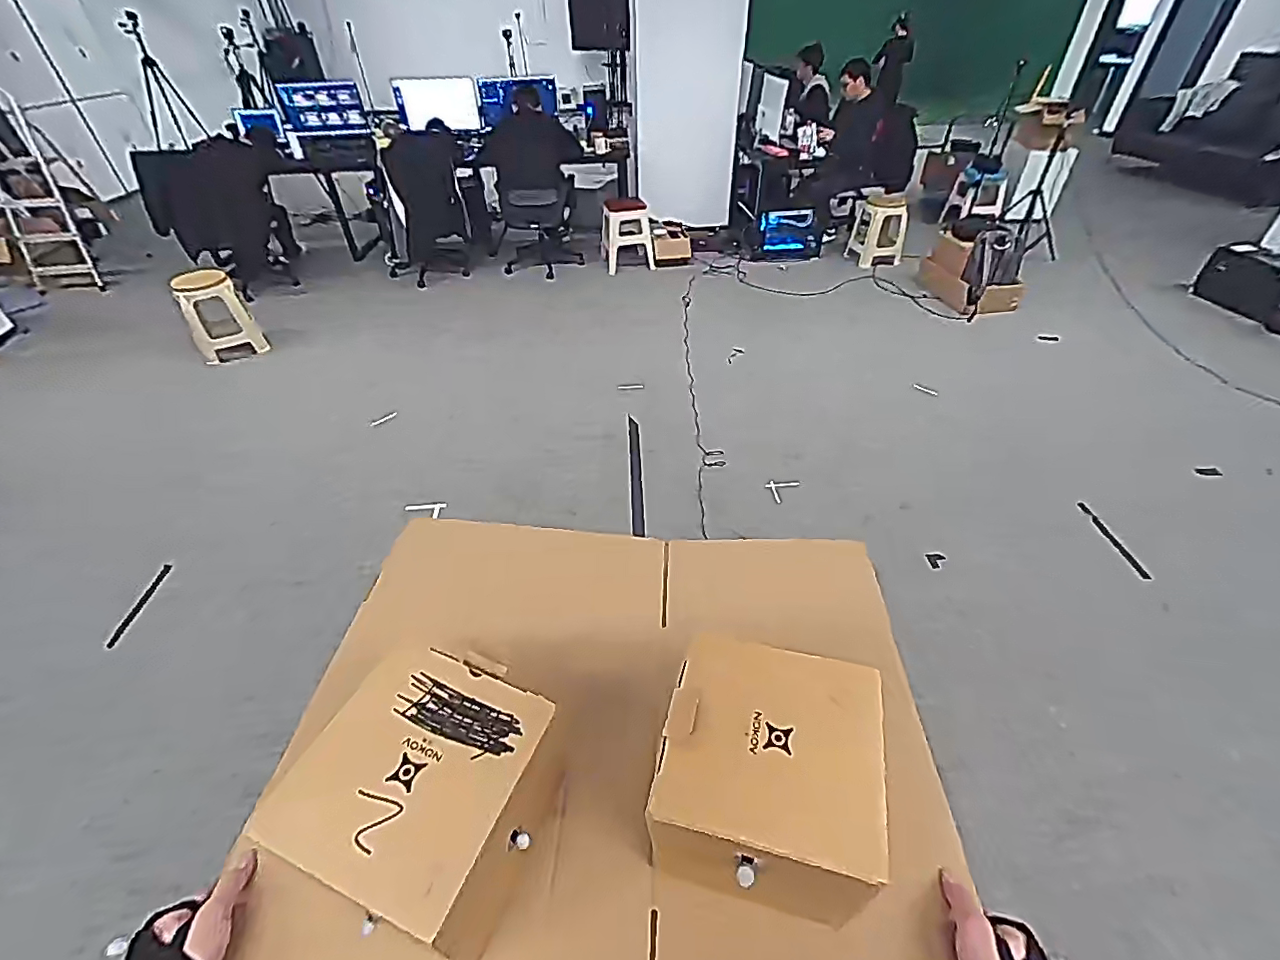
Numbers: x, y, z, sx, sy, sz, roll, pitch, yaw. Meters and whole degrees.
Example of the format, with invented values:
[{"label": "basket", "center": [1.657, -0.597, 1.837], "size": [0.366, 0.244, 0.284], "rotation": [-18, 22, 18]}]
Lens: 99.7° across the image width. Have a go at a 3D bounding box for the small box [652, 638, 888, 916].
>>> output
[{"label": "small box", "center": [0.122, 0.280, 0.512], "size": [0.179, 0.176, 0.168], "rotation": [7, 43, 16]}]
